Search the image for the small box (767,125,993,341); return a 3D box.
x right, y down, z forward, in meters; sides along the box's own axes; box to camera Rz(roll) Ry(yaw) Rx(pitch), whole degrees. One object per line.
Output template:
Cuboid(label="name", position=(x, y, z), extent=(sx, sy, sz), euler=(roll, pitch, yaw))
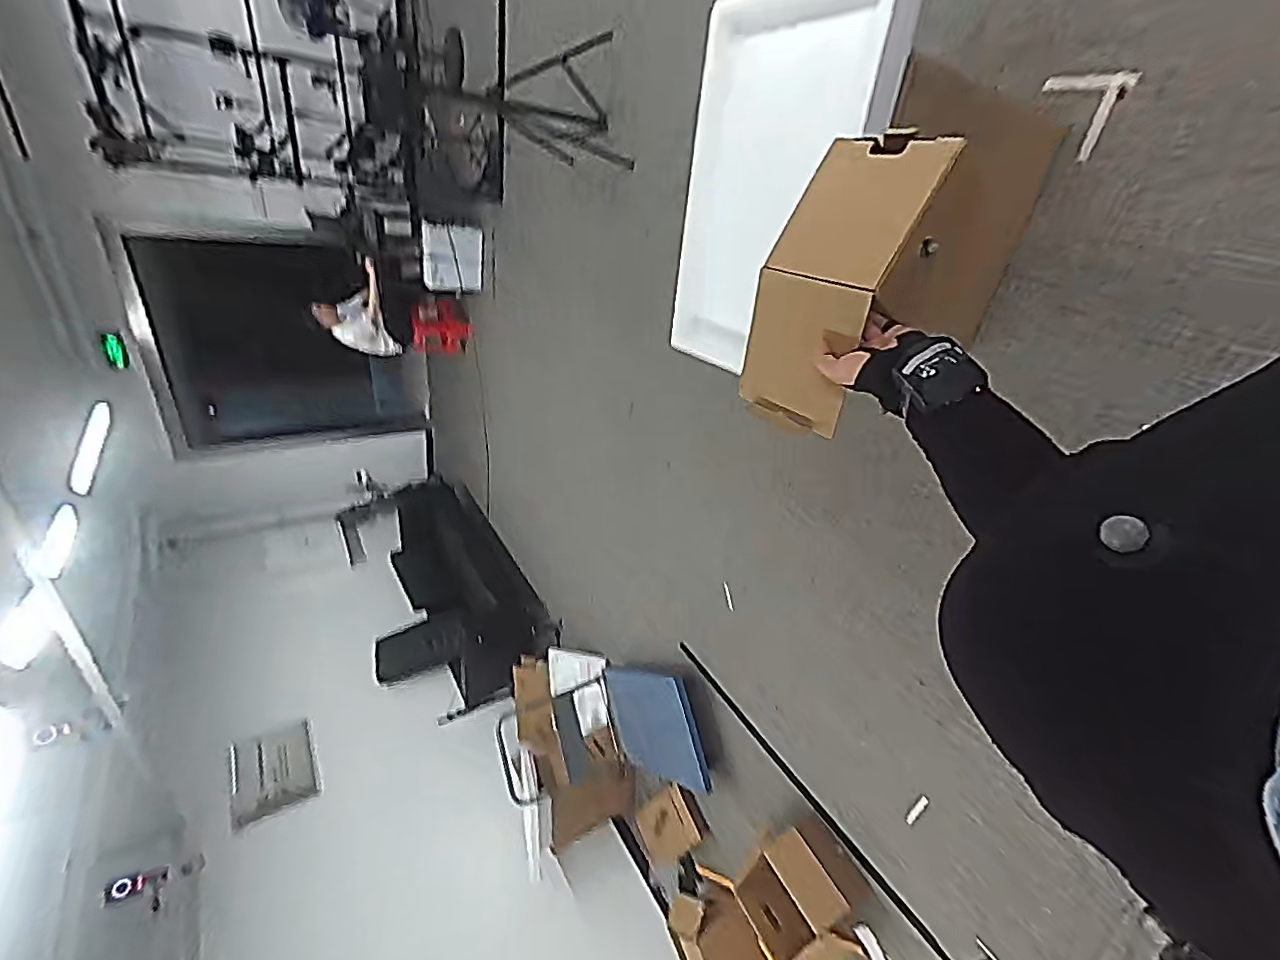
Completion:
Cuboid(label="small box", position=(0.298, -0.297, 0.665), extent=(0.168, 0.176, 0.179), euler=(38, 102, 43))
